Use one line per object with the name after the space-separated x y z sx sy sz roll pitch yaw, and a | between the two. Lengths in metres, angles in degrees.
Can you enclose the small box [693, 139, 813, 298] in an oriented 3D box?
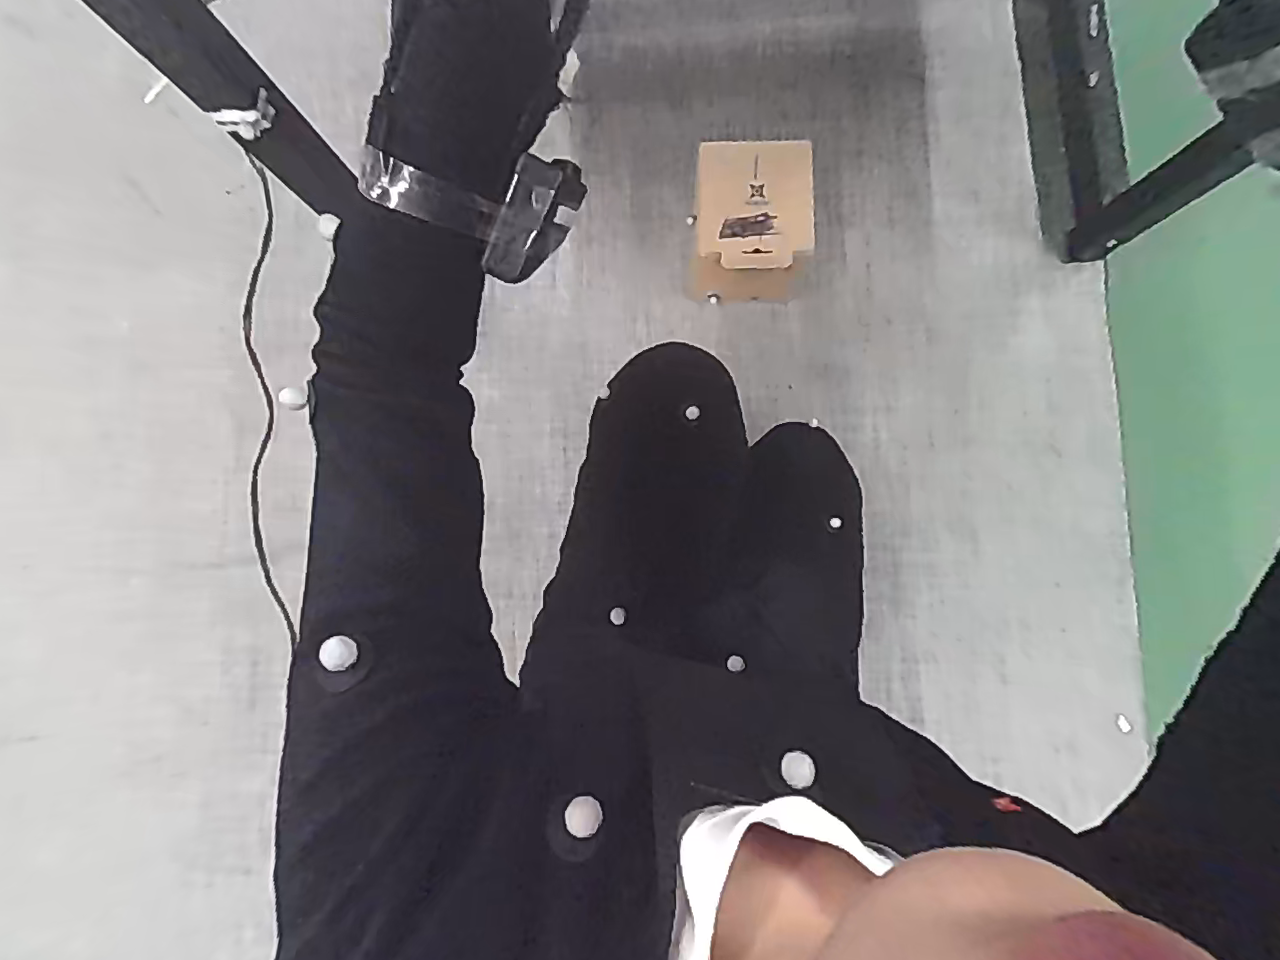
0.173 -0.405 0.864 0.168 0.176 0.179 1 84 3 | small box
